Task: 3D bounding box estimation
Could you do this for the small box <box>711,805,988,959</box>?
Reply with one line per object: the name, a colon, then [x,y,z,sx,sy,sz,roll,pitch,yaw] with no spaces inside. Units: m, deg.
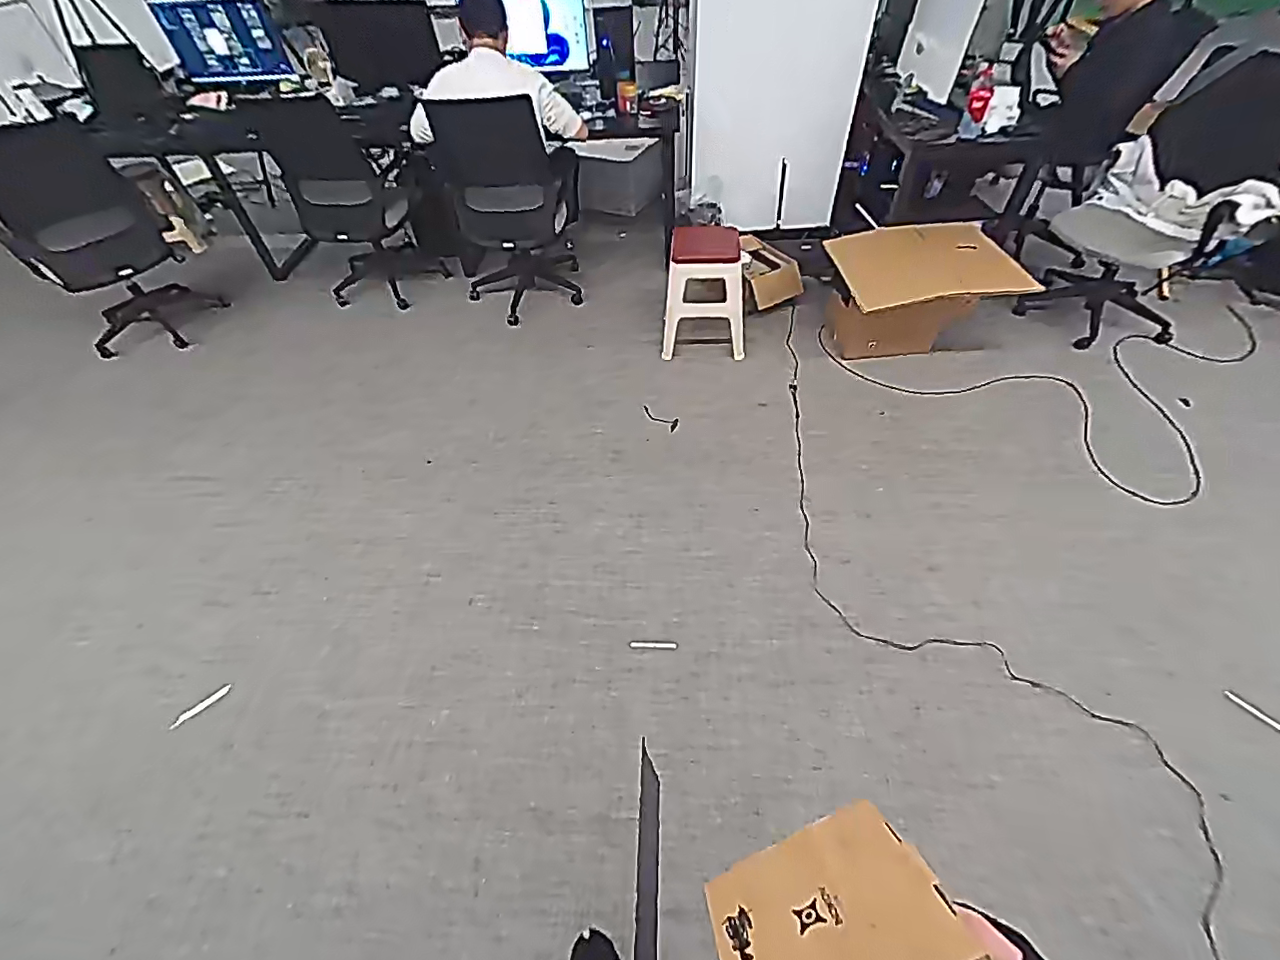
small box: [0.182,0.422,0.438,0.179,0.168,0.176,-26,91,-2]
